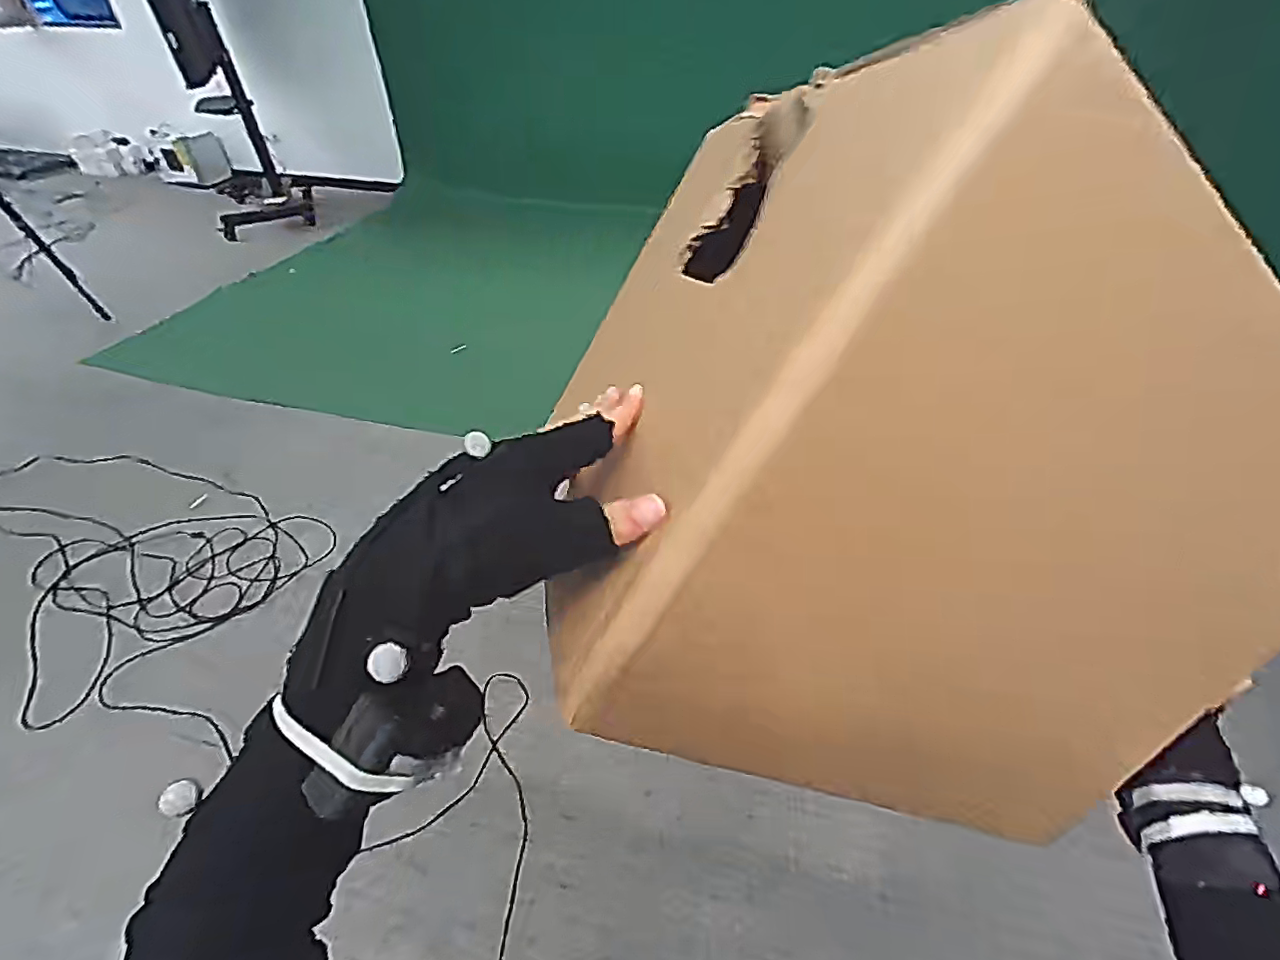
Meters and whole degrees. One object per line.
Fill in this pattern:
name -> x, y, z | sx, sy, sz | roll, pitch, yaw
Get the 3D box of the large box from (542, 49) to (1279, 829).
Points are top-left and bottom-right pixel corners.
large box -> 0.178, 0.002, 0.415 | 0.408, 0.320, 0.320 | 27, 19, -23
